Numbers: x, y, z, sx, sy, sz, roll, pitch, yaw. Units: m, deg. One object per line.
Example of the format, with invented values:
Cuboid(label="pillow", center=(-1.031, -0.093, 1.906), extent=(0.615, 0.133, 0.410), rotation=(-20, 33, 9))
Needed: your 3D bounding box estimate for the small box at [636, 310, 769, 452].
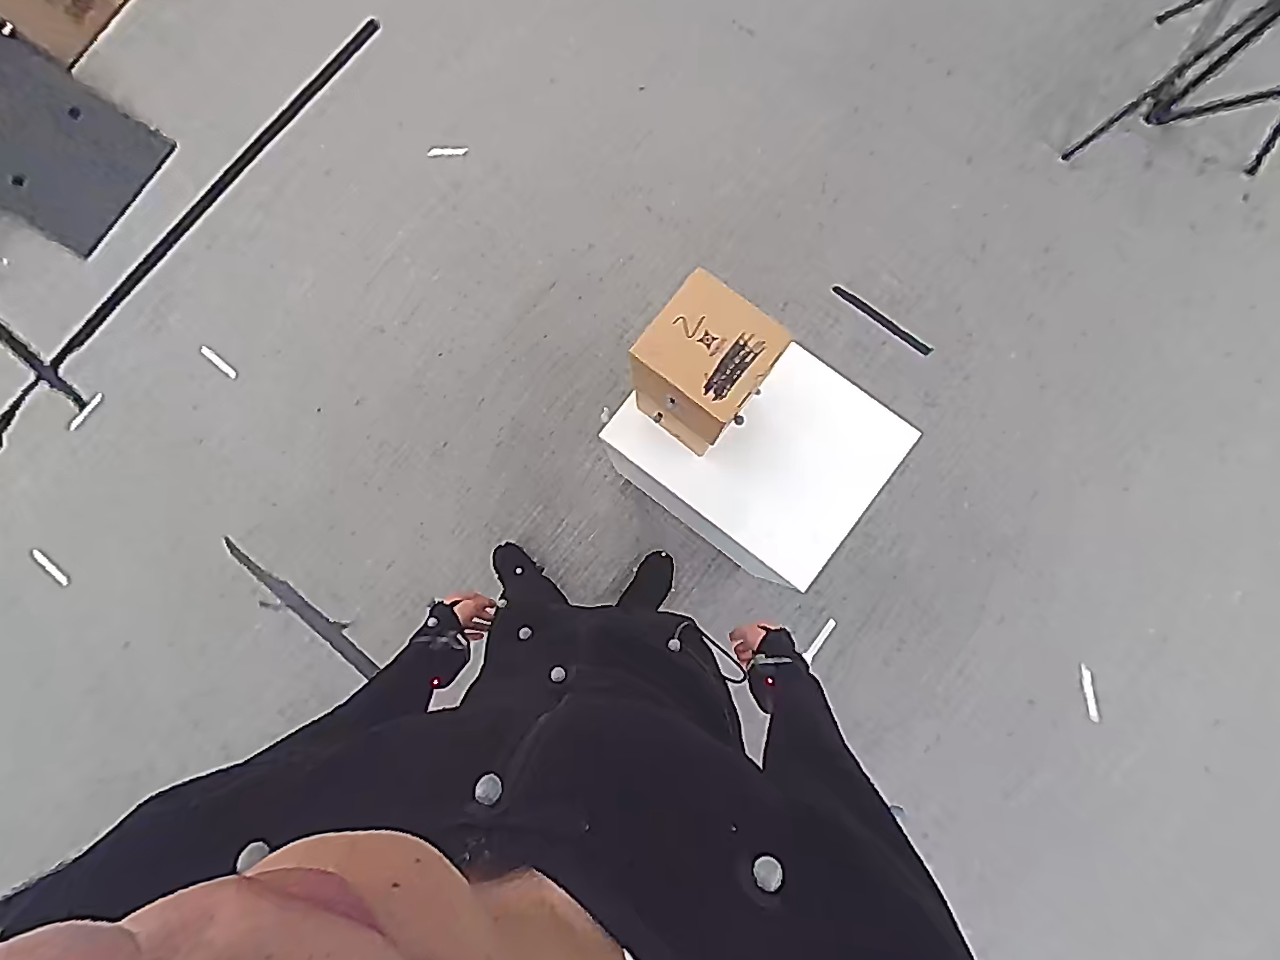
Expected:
Cuboid(label="small box", center=(0.110, -0.172, 1.008), extent=(0.168, 0.176, 0.179), rotation=(39, 85, 4))
